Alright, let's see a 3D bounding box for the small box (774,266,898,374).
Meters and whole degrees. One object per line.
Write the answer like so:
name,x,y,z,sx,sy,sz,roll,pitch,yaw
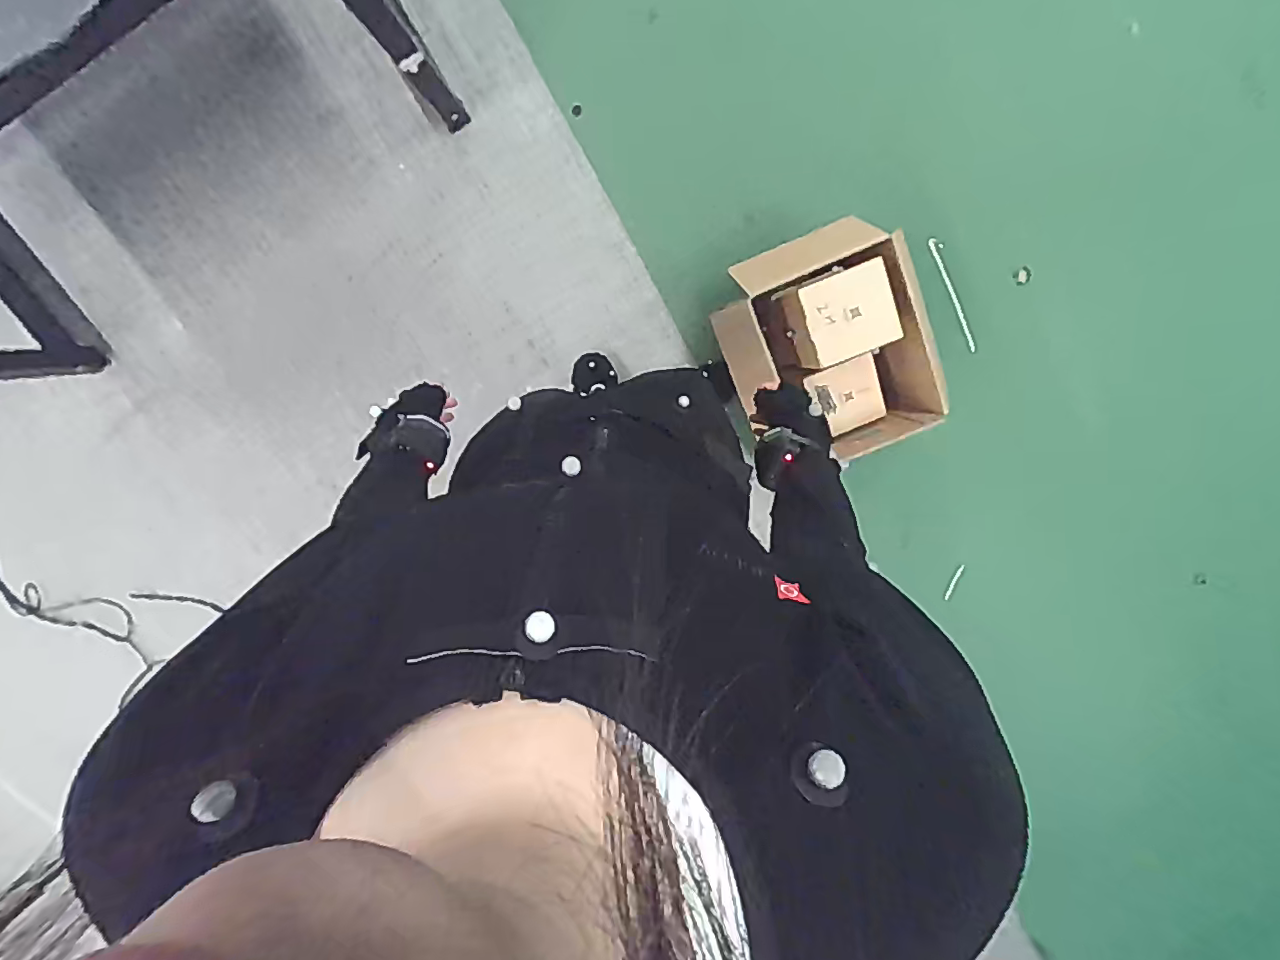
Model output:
small box,0.411,-0.337,1.156,0.179,0.176,0.168,-21,102,3
